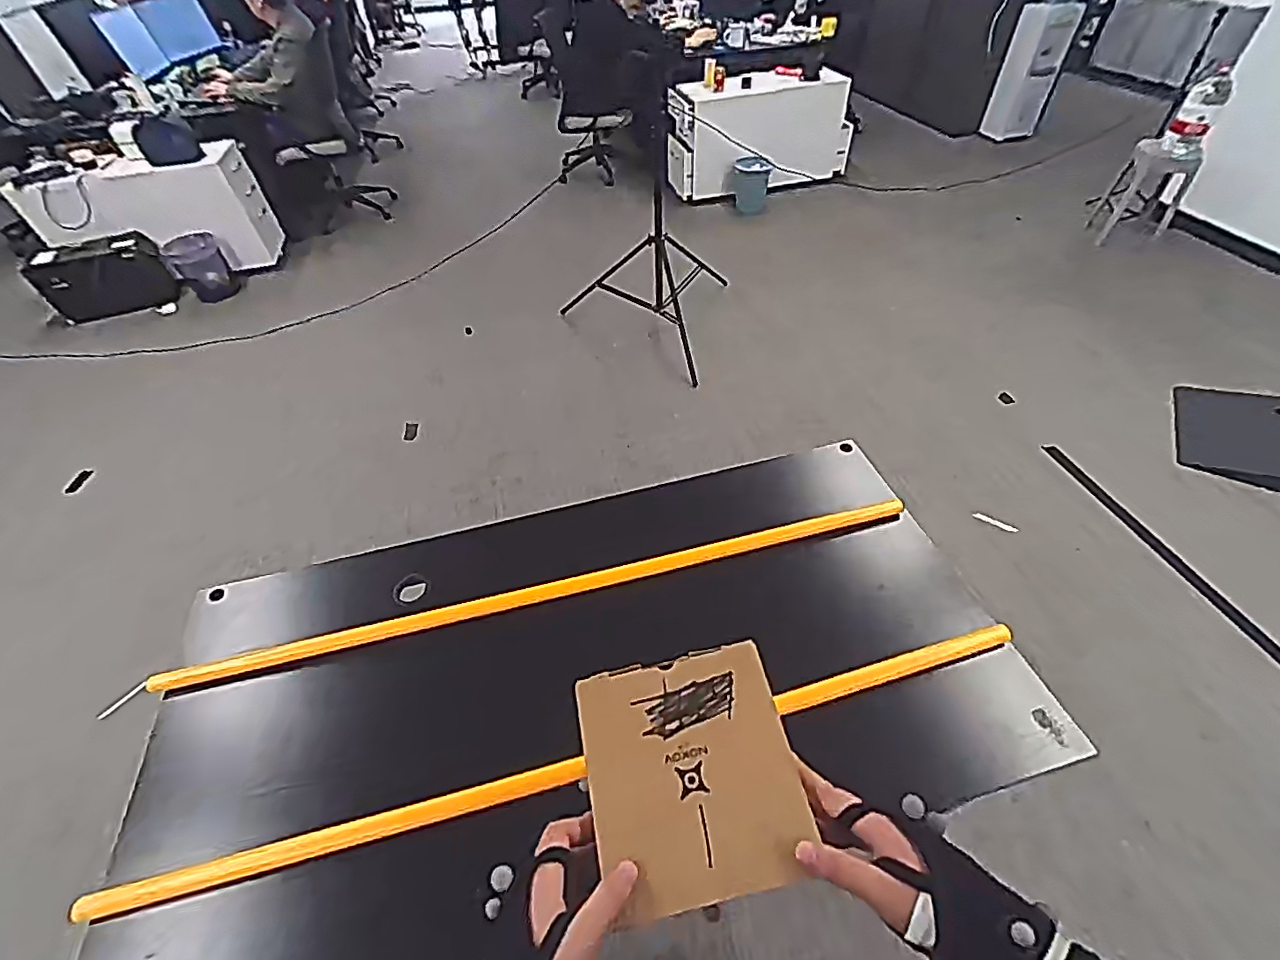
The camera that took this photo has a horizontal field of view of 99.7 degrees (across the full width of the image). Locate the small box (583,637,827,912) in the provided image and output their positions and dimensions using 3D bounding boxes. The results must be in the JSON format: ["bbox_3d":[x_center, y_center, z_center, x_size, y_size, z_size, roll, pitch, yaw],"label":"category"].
[{"bbox_3d":[0.047,0.273,0.504,0.168,0.176,0.179,-12,55,-4],"label":"small box"}]
